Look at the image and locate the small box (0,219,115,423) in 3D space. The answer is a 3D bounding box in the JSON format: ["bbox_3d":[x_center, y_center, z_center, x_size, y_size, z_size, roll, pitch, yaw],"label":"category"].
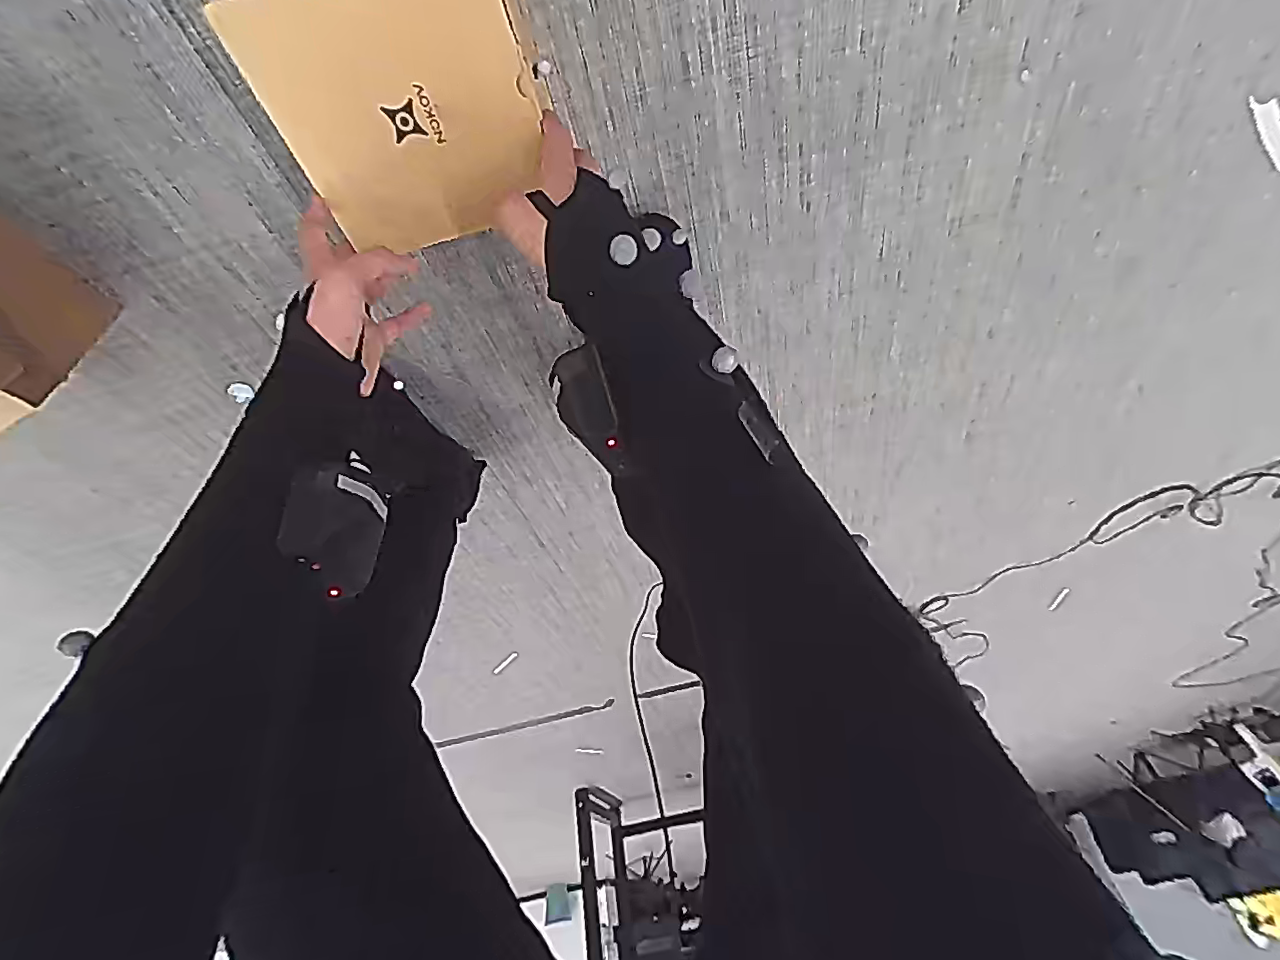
[{"bbox_3d":[-0.658,-0.148,0.490,0.168,0.176,0.179,-22,138,13],"label":"small box"}]

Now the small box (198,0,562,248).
[{"bbox_3d":[-0.170,-0.313,0.416,0.179,0.176,0.168,-15,139,4],"label":"small box"}]
